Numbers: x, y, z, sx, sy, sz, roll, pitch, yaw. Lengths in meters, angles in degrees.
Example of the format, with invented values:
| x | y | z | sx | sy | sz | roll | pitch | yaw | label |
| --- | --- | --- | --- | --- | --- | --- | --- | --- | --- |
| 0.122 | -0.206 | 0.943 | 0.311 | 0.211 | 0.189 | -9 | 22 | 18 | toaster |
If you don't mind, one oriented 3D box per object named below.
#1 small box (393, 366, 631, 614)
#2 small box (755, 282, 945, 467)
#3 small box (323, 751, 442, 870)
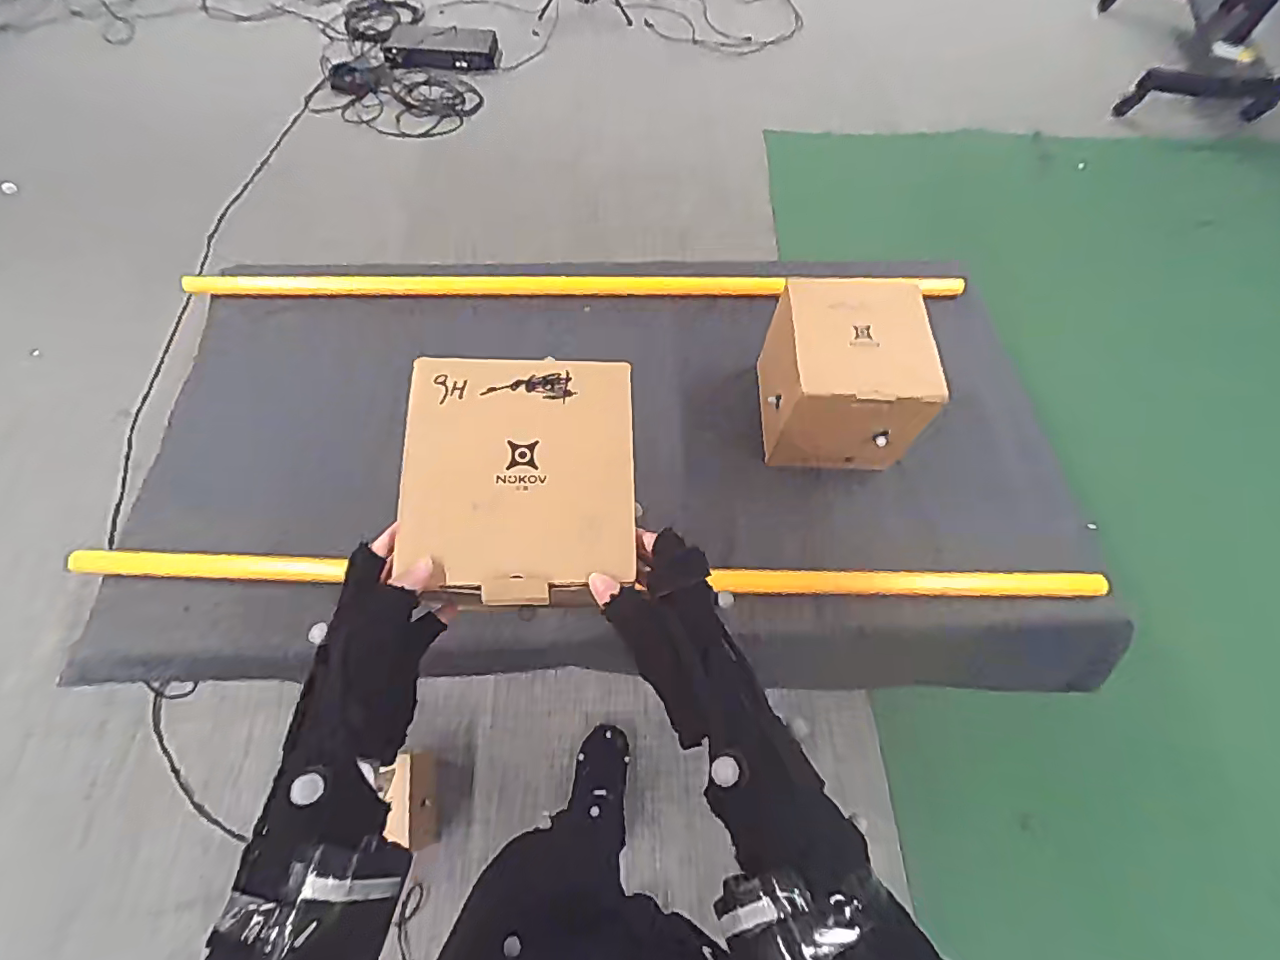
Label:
| x | y | z | sx | sy | sz | roll | pitch | yaw | label |
| --- | --- | --- | --- | --- | --- | --- | --- | --- | --- |
| -0.096 | 0.021 | 0.467 | 0.168 | 0.176 | 0.179 | -3 | 73 | -6 | small box |
| 0.252 | -0.129 | 0.698 | 0.168 | 0.176 | 0.179 | 1 | 62 | -2 | small box |
| -0.511 | 0.660 | 1.097 | 0.168 | 0.176 | 0.179 | -8 | 64 | -5 | small box |
